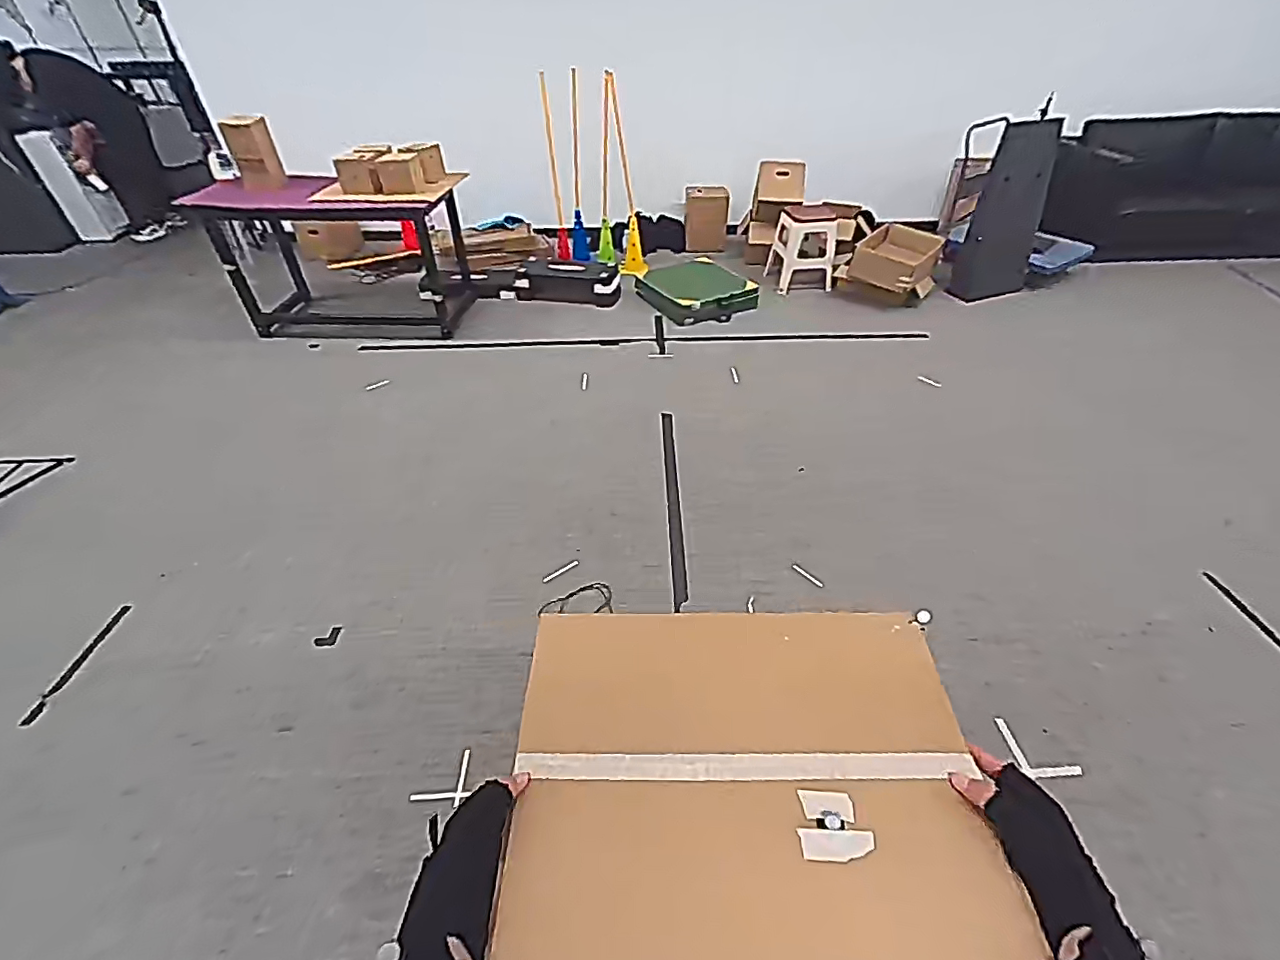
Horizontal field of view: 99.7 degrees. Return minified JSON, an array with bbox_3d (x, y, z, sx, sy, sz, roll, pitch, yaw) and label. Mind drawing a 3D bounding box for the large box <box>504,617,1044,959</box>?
[{"bbox_3d":[0.100,0.366,0.594,0.408,0.320,0.320,0,45,2],"label":"large box"}]
